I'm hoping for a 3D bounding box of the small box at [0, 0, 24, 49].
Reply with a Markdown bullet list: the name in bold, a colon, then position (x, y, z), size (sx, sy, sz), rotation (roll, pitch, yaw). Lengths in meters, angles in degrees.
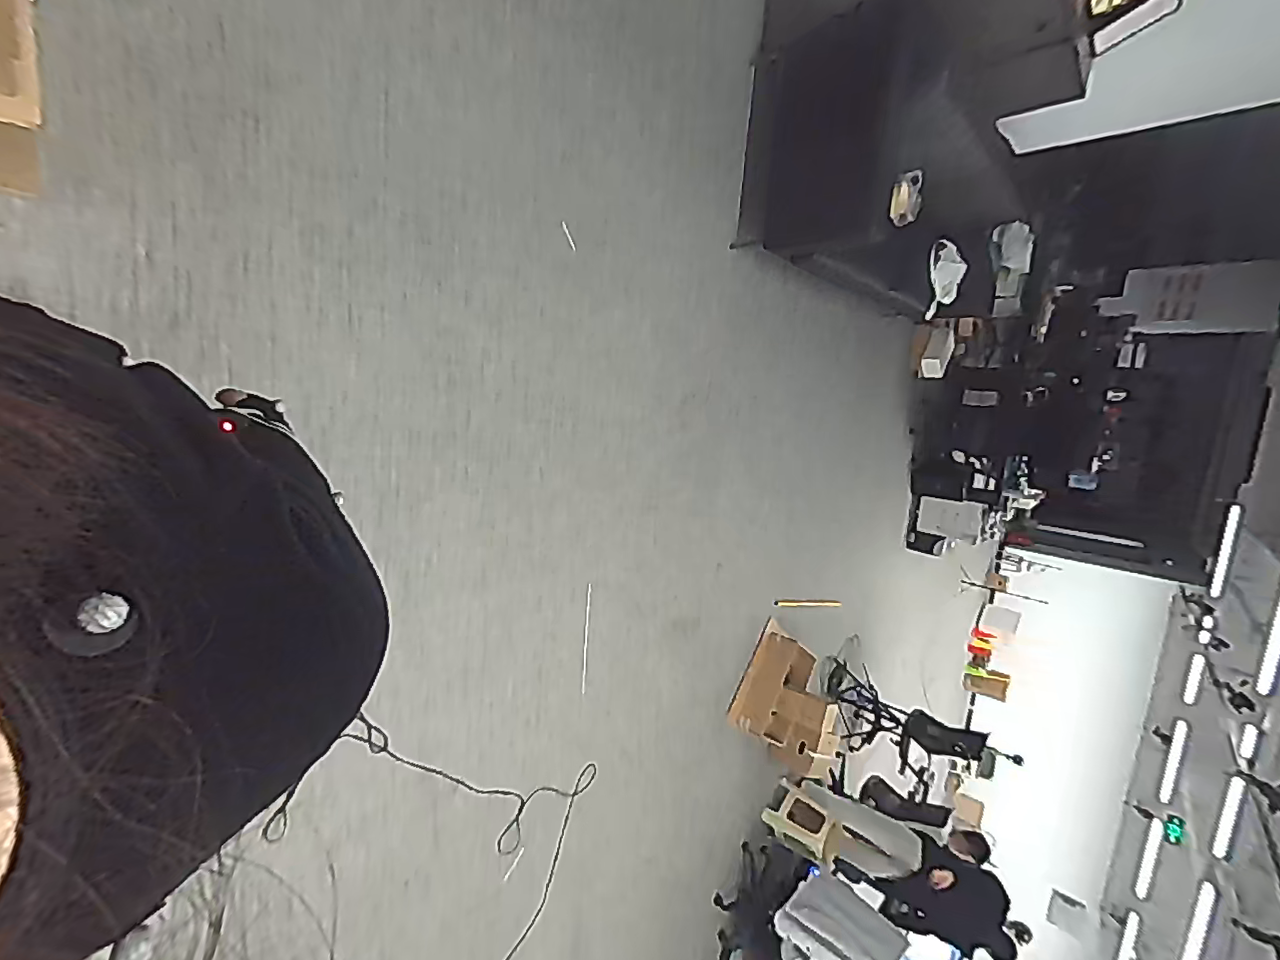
- **small box**: position (-0.635, -0.512, 0.445), size (0.168, 0.176, 0.179), rotation (2, 99, -48)
